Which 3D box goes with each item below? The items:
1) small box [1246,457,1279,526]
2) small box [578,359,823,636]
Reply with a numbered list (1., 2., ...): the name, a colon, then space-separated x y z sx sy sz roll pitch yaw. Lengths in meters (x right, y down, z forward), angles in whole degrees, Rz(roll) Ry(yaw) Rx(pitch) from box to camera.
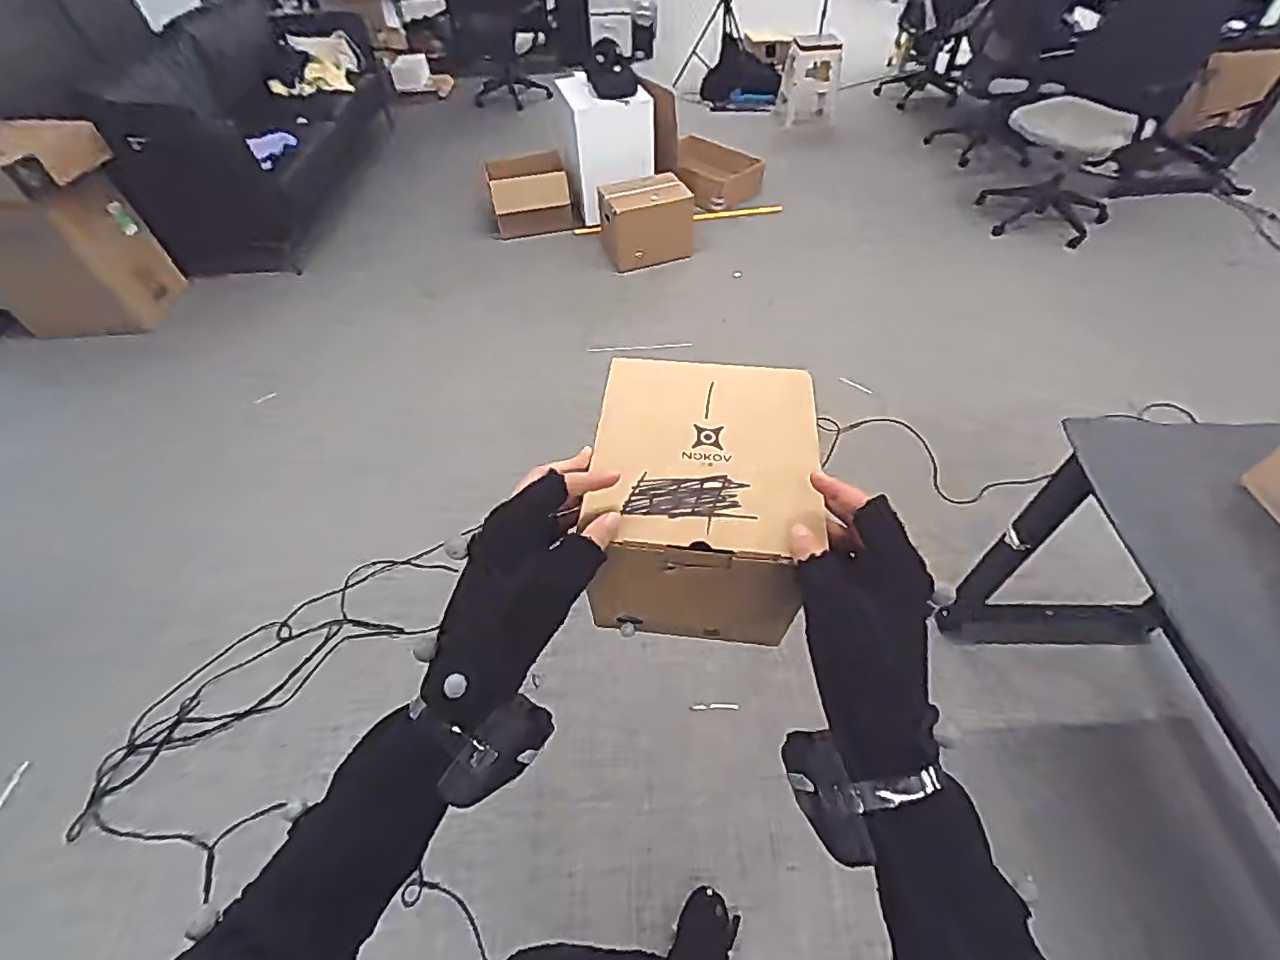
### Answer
1. small box: 1.084 0.012 0.787 0.179 0.176 0.168 -1 50 1
2. small box: 0.051 0.020 0.466 0.168 0.176 0.179 5 54 5
